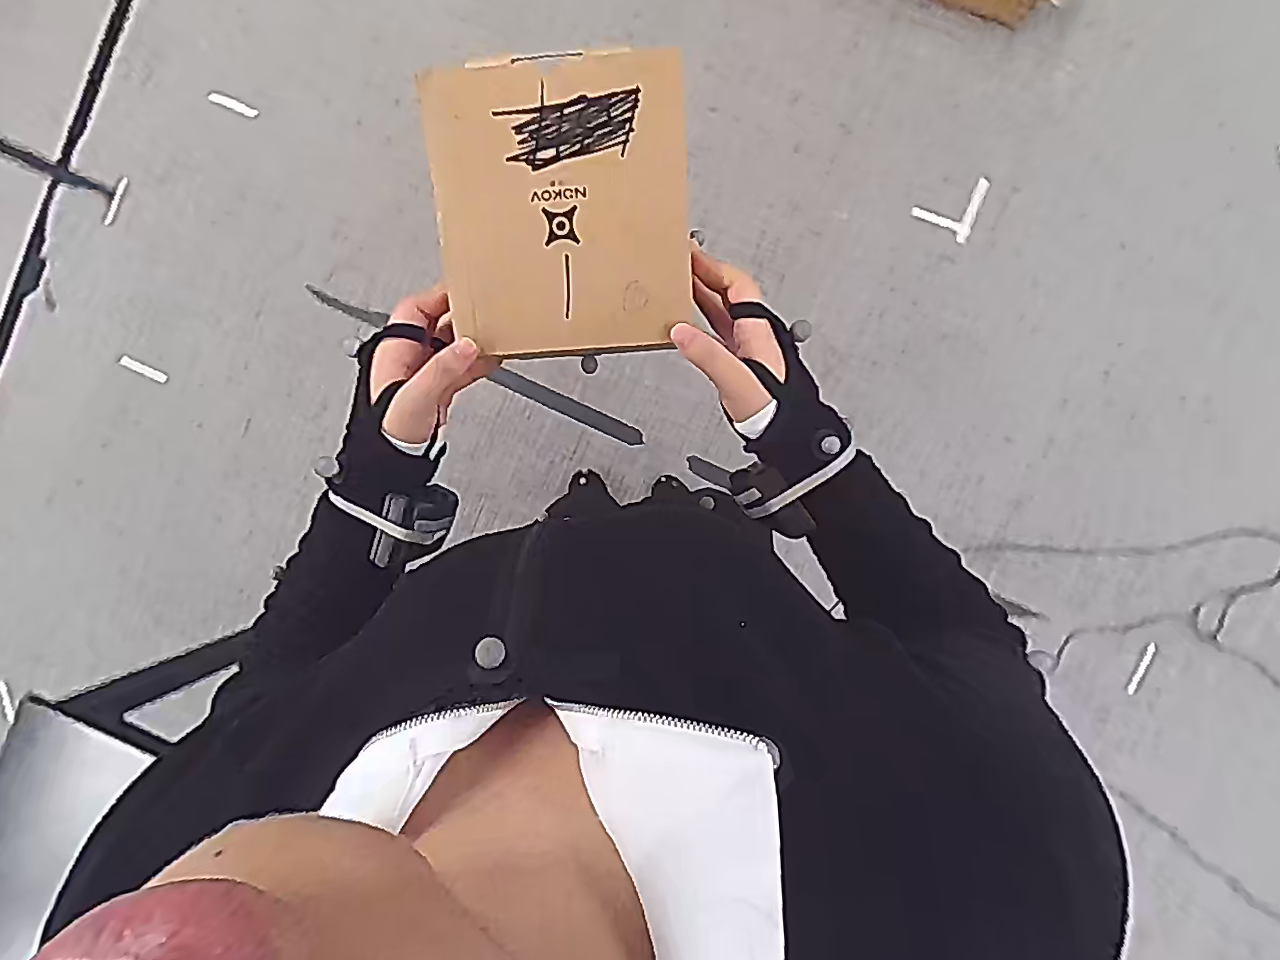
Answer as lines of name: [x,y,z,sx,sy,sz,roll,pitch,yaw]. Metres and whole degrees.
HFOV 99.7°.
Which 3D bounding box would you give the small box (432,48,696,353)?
small box: [-0.044,-0.195,0.429,0.168,0.176,0.179,-2,103,3]
